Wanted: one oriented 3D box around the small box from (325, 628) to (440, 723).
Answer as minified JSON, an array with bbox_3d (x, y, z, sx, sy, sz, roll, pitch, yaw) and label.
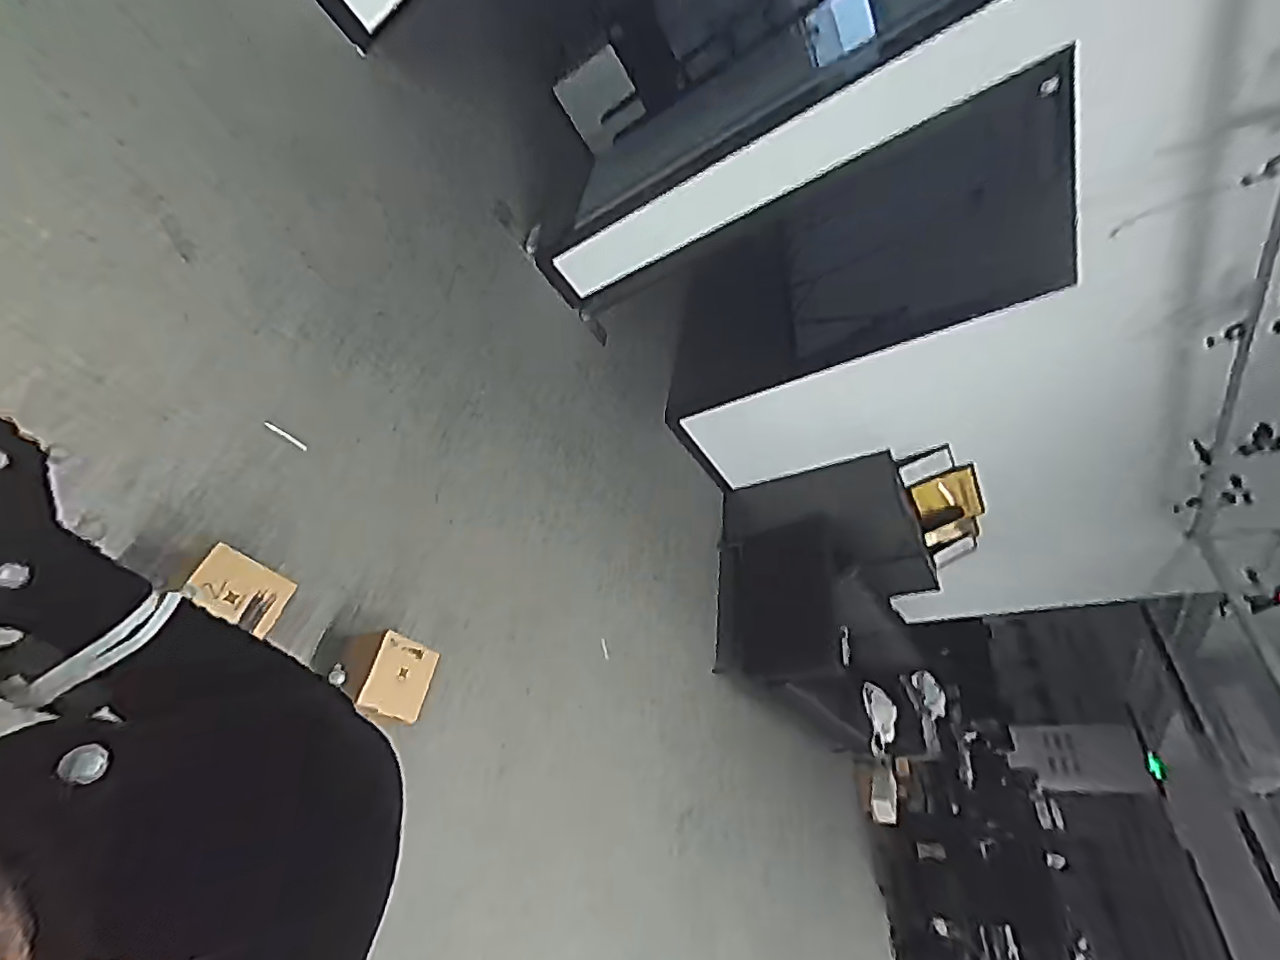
[{"bbox_3d":[-0.640,0.488,1.340,0.168,0.176,0.179,48,39,-38],"label":"small box"}]
